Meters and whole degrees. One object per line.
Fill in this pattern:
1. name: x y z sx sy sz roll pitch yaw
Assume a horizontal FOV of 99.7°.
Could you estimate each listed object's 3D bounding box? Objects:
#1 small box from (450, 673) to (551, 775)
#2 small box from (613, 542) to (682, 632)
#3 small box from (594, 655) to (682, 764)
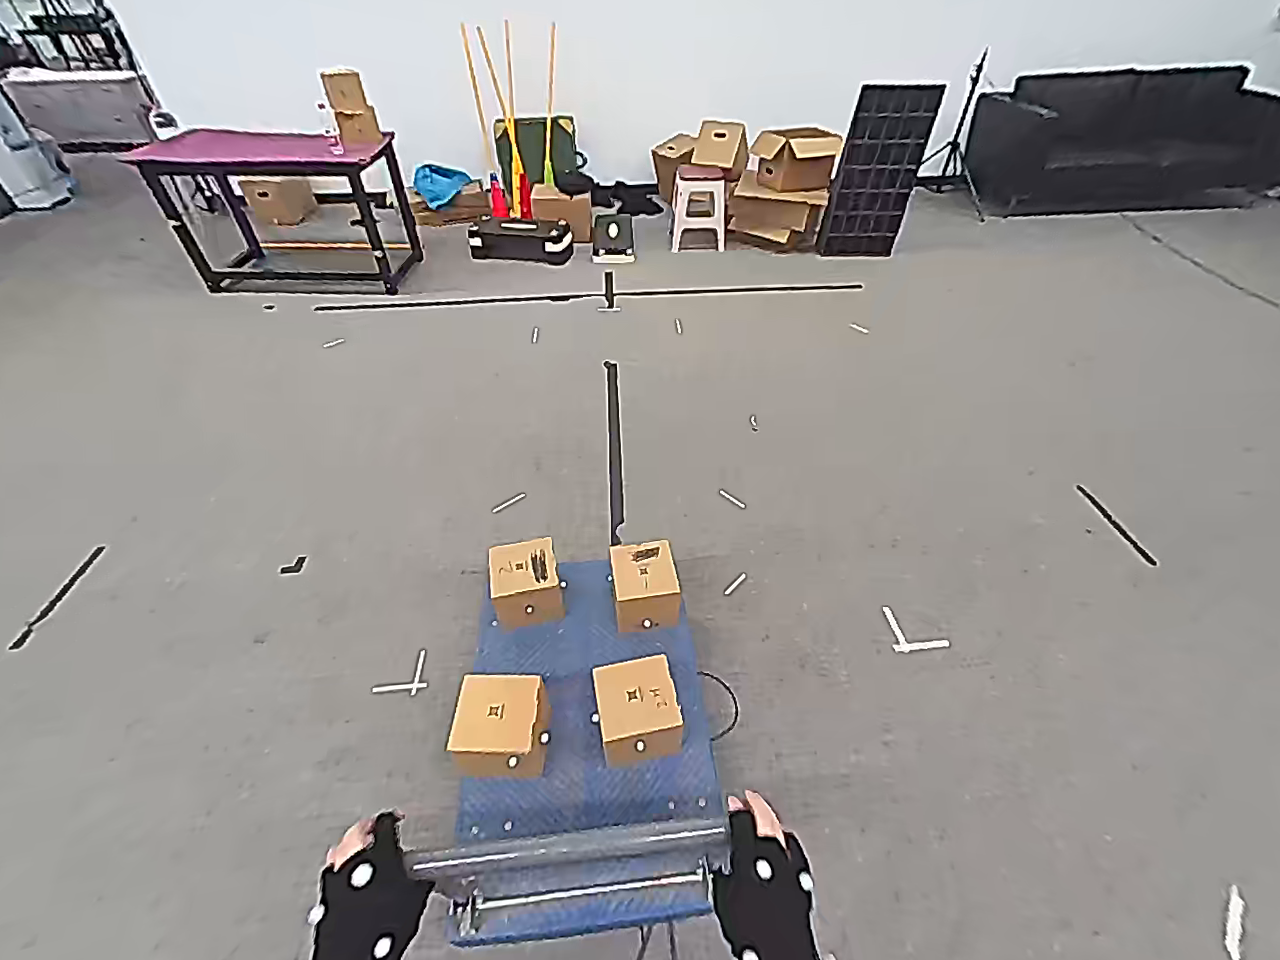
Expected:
1. small box: -0.308 0.558 1.231 0.179 0.176 0.168 1 44 -1
2. small box: 0.015 0.296 1.494 0.168 0.176 0.179 -6 46 -6
3. small box: -0.005 0.535 1.252 0.179 0.176 0.168 -8 45 -8
